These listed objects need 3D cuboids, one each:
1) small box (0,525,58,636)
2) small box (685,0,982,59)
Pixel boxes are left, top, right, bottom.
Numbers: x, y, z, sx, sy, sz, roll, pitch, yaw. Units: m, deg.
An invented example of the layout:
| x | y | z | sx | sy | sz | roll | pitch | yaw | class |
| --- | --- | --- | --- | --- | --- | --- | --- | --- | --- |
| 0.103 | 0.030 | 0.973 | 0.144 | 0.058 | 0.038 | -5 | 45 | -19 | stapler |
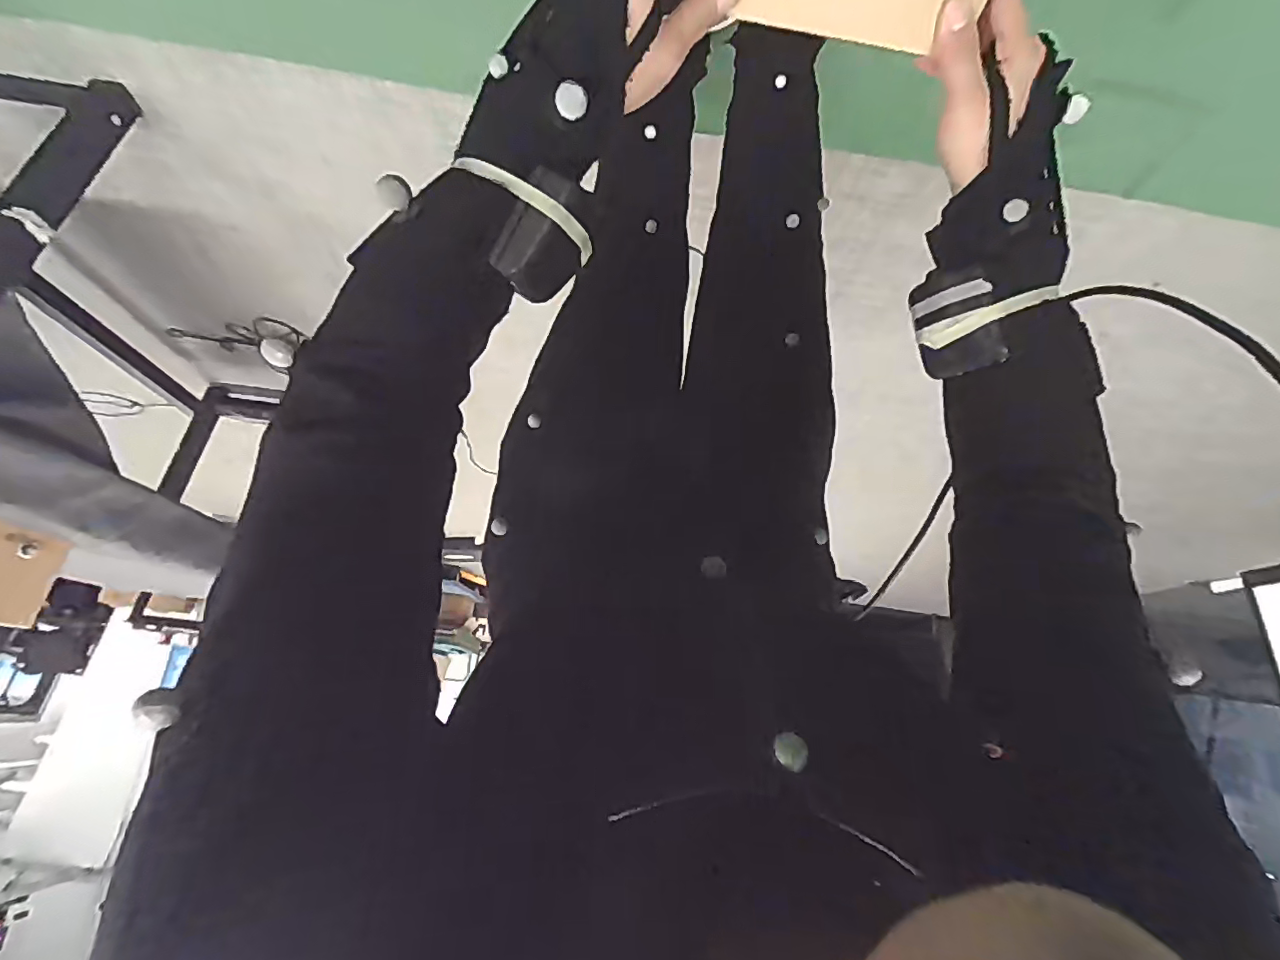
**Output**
| x | y | z | sx | sy | sz | roll | pitch | yaw | class |
| --- | --- | --- | --- | --- | --- | --- | --- | --- | --- |
| -1.149 | 0.154 | 0.893 | 0.179 | 0.176 | 0.168 | 4 | 158 | 4 | small box |
| 0.120 | -0.372 | 0.290 | 0.168 | 0.176 | 0.179 | 6 | 144 | -5 | small box |
